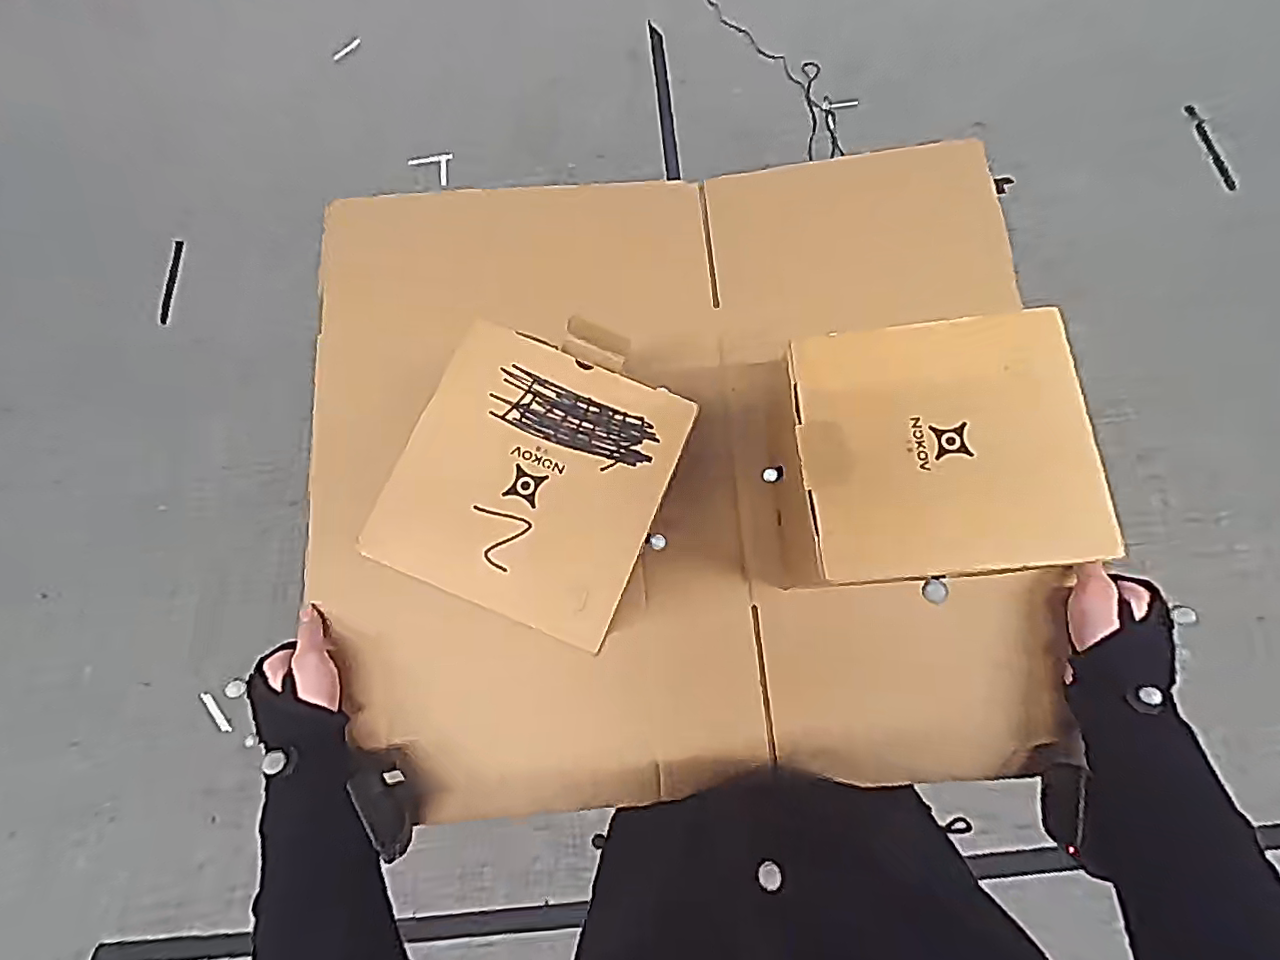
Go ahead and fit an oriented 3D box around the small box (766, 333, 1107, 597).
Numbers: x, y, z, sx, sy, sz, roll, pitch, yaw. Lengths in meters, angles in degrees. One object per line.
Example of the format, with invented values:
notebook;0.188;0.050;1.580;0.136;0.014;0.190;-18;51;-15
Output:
small box;0.207;0.003;0.436;0.179;0.176;0.168;-7;77;6
